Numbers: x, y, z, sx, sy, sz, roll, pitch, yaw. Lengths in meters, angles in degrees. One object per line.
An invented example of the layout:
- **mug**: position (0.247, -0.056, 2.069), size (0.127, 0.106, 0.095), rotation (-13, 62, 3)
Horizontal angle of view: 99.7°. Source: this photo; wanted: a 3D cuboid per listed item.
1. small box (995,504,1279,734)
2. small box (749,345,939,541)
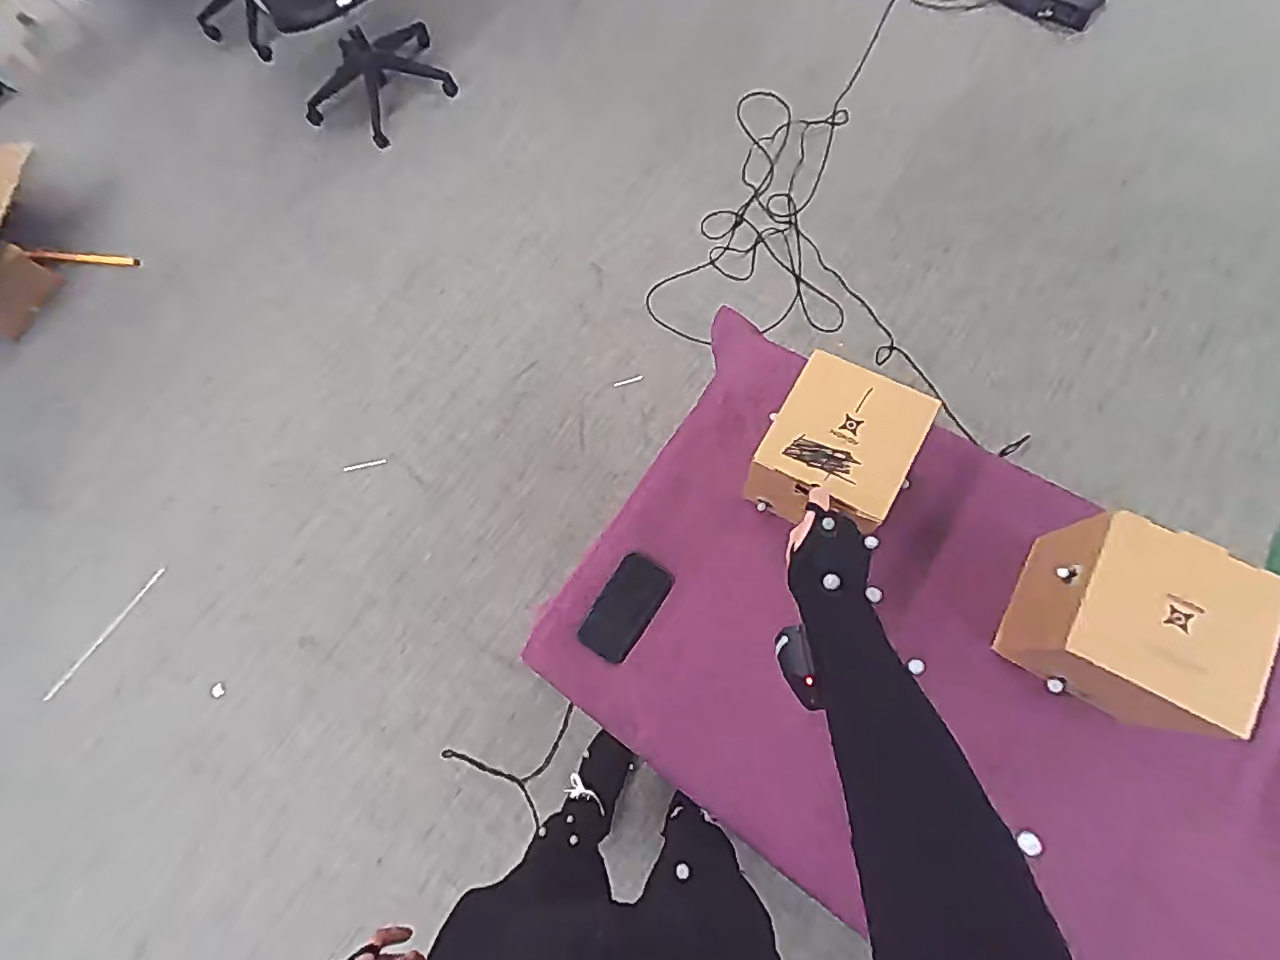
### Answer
- **small box**: position (0.554, 0.158, 0.626), size (0.168, 0.176, 0.179), rotation (29, 78, 16)
- **small box**: position (0.257, -0.039, 0.727), size (0.168, 0.176, 0.179), rotation (29, 76, 15)
